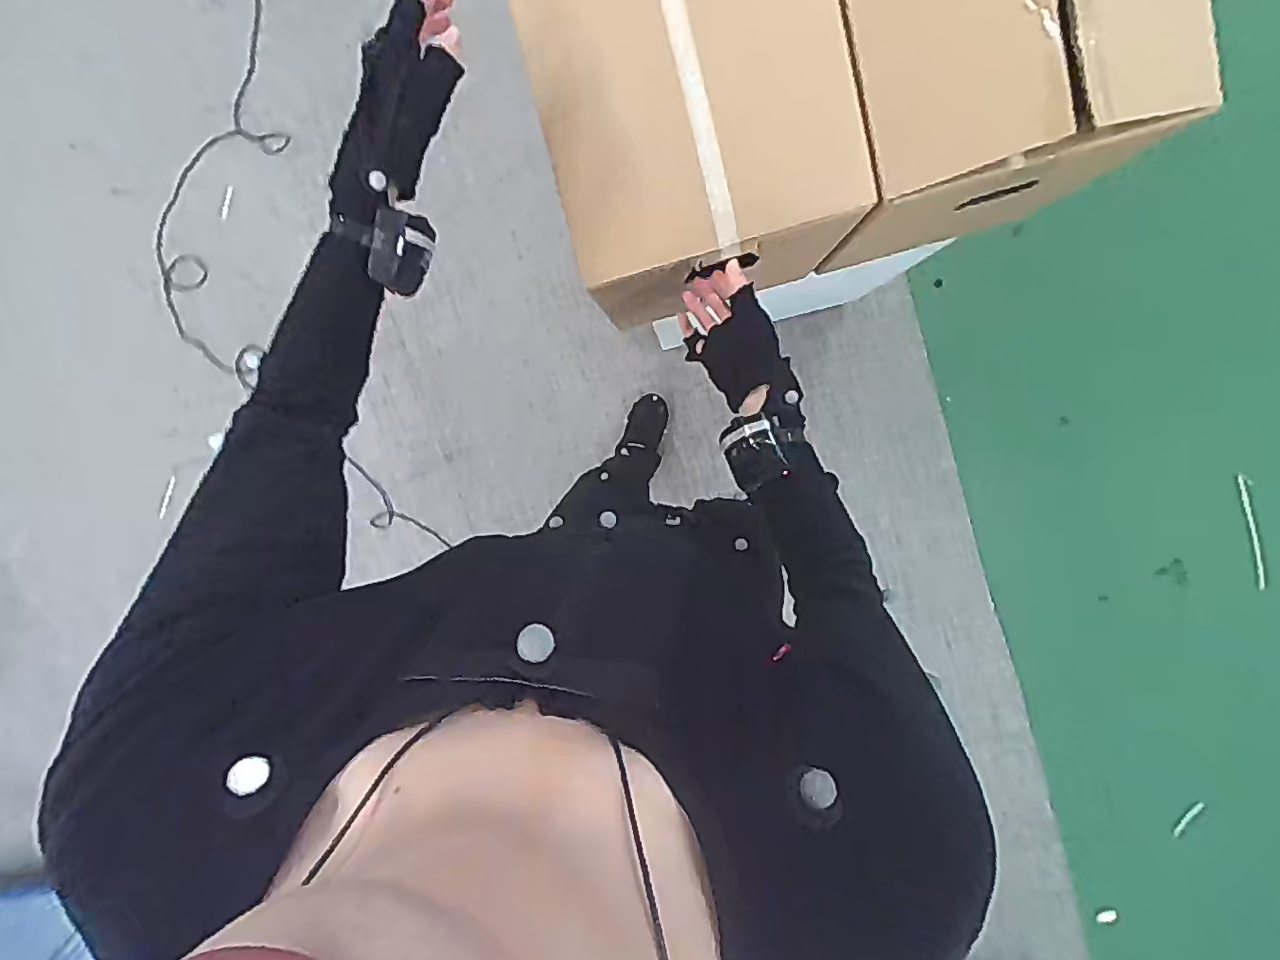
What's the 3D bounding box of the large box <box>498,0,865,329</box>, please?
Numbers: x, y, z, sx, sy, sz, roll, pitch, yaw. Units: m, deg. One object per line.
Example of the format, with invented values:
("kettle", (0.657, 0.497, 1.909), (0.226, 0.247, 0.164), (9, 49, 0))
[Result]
("large box", (0.044, -0.451, 0.689), (0.320, 0.320, 0.408), (-14, 95, 6))
